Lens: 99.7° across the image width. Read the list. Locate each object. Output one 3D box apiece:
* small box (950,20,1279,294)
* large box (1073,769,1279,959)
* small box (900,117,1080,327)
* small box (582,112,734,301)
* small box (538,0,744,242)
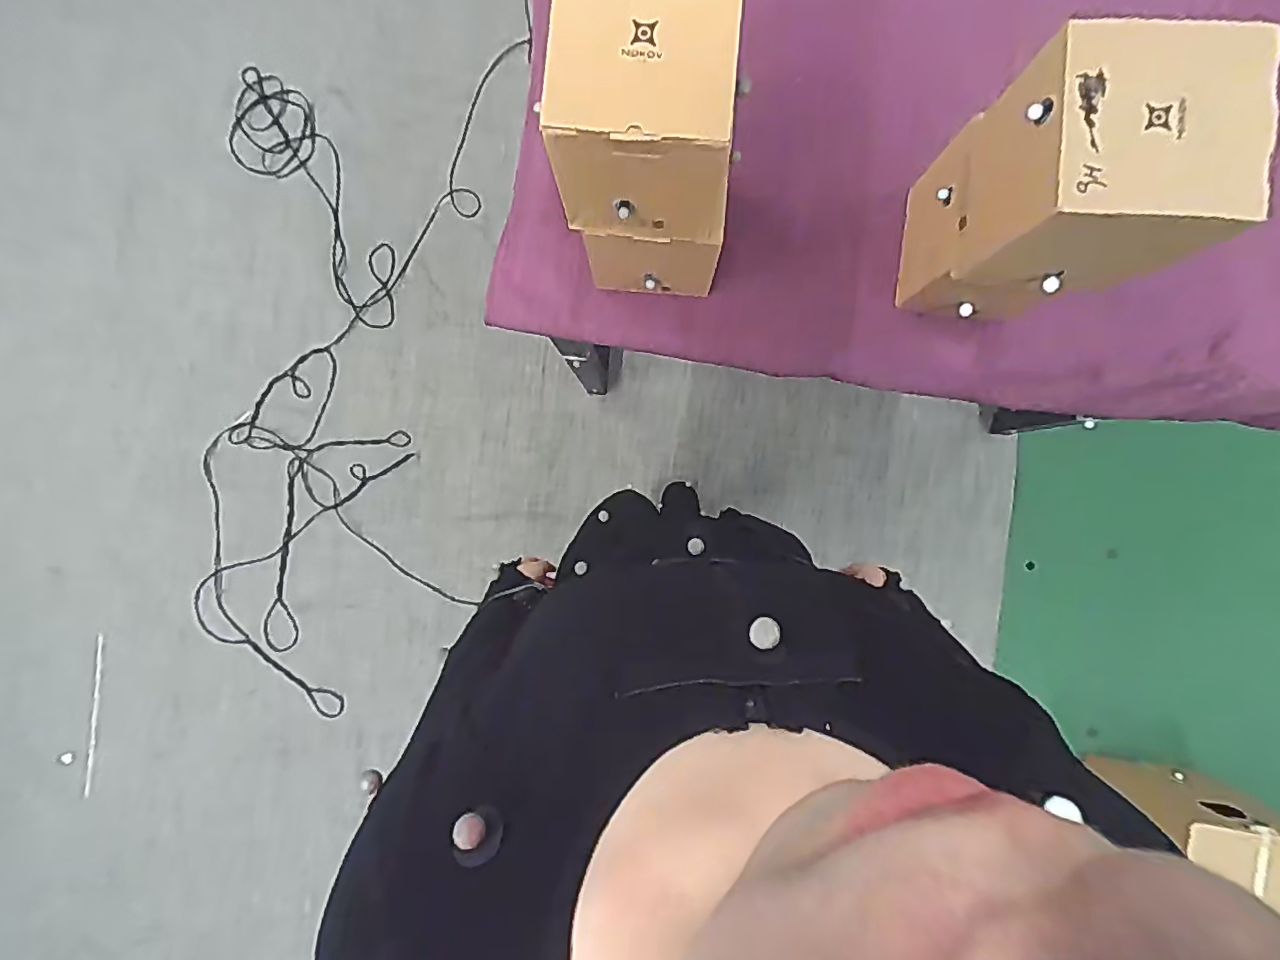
[{"bbox_3d":[0.439,-0.291,0.525,0.179,0.176,0.168,4,89,2],"label":"small box"},{"bbox_3d":[1.324,0.979,1.297,0.320,0.320,0.408,8,90,2],"label":"large box"},{"bbox_3d":[0.454,-0.314,0.689,0.168,0.176,0.179,8,89,2],"label":"small box"},{"bbox_3d":[0.021,-0.353,0.698,0.168,0.176,0.179,5,88,2],"label":"small box"},{"bbox_3d":[0.003,-0.367,0.537,0.168,0.176,0.179,5,88,1],"label":"small box"}]
